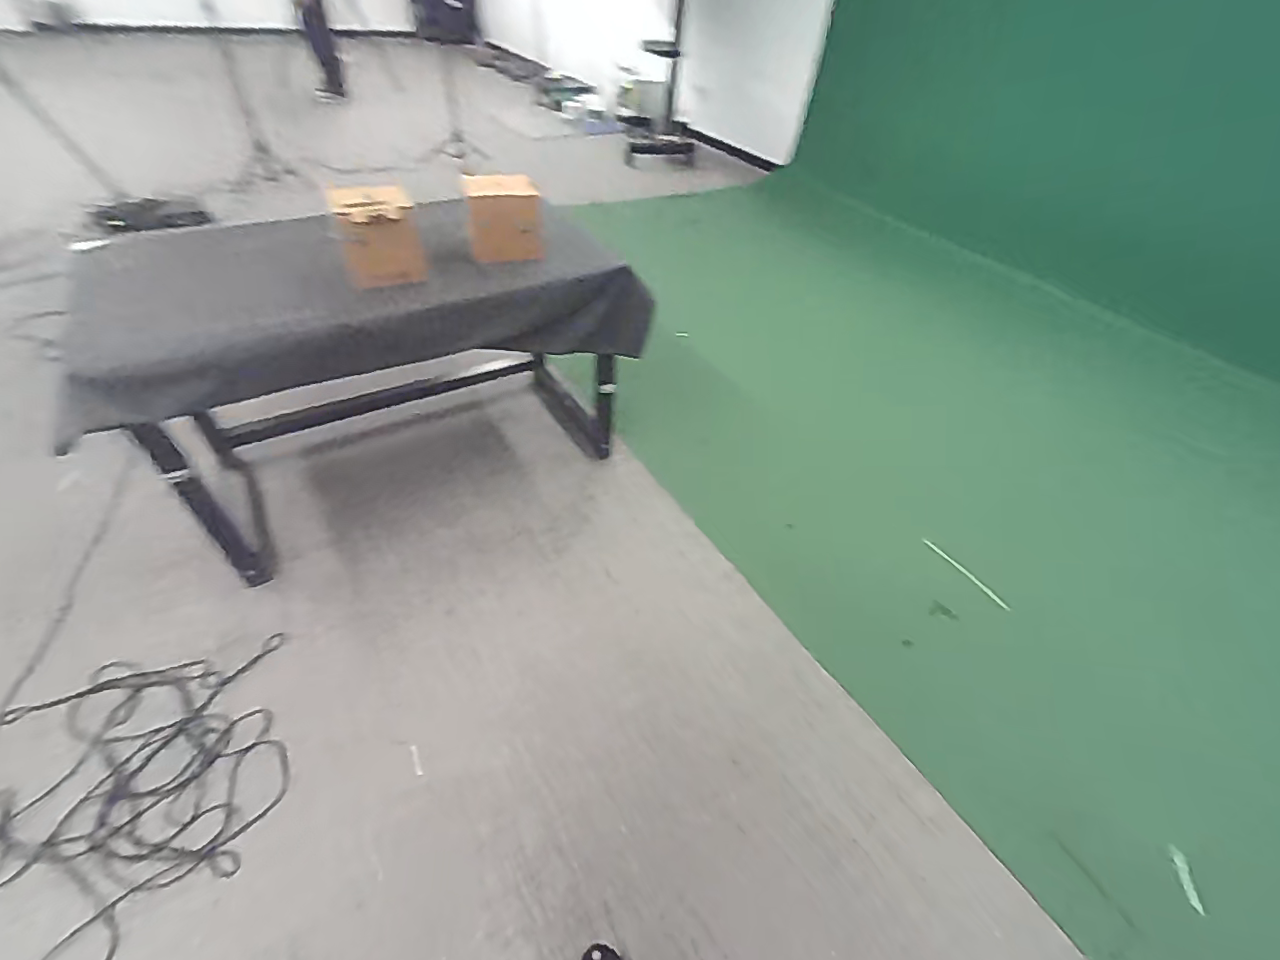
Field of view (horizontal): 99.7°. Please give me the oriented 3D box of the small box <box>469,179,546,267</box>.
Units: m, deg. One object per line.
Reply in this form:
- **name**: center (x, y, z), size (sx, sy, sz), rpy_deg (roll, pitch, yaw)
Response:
- **small box**: center (-0.350, -0.685, 1.442), size (0.179, 0.176, 0.168), rpy_deg (-11, 46, -15)
